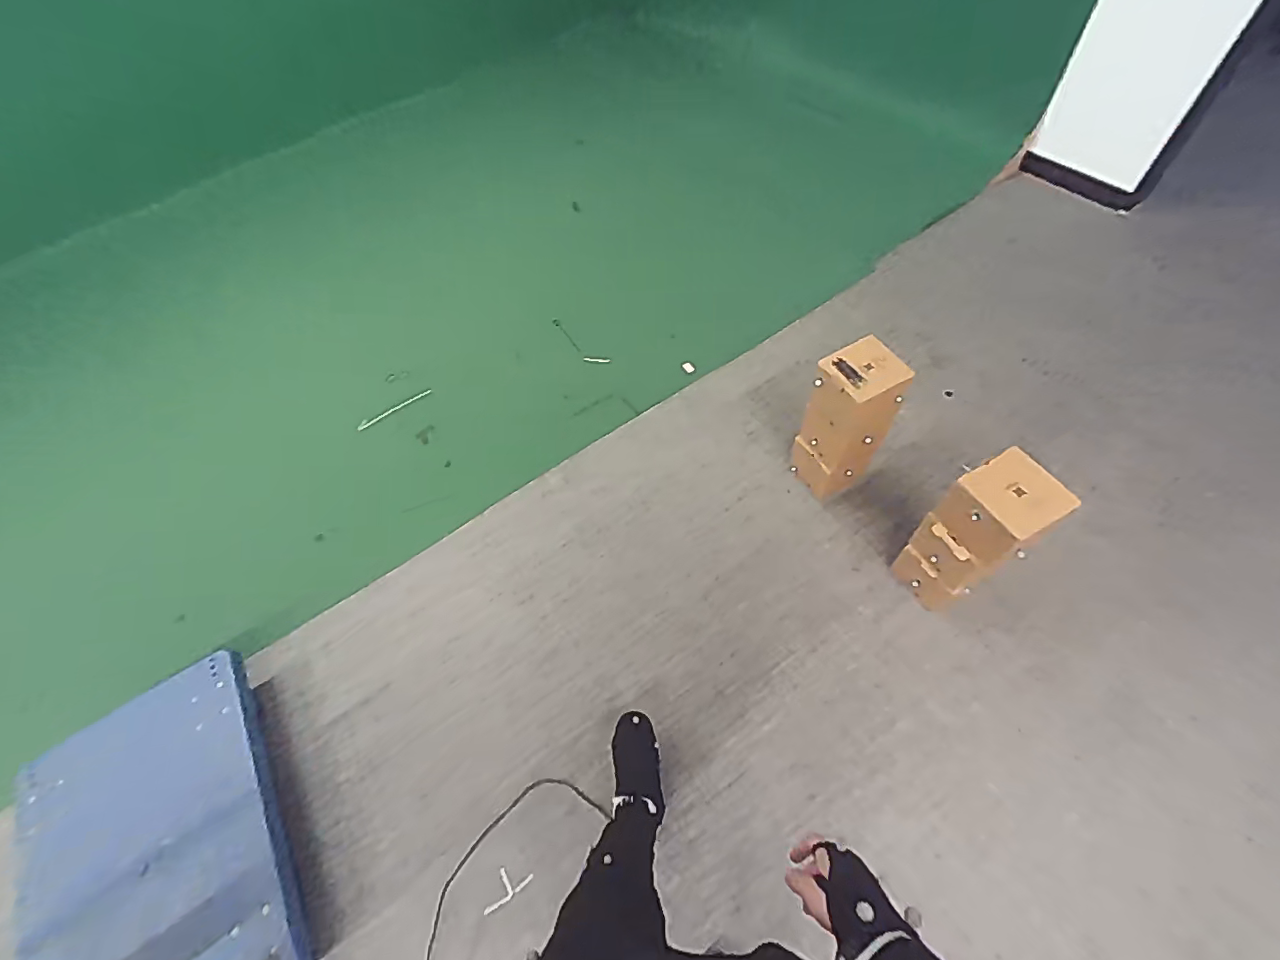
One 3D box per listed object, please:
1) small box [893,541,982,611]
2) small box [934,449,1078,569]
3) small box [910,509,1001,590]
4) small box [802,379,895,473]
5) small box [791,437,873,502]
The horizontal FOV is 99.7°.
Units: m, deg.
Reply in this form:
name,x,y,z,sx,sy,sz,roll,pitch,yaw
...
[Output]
name,x,y,z,sx,sy,sz,roll,pitch,yaw
small box,0.829,0.236,1.491,0.179,0.176,0.168,-31,60,-10
small box,0.802,0.069,1.210,0.168,0.176,0.179,-27,60,-8
small box,0.818,0.147,1.352,0.179,0.176,0.168,-27,59,-8
small box,0.593,-0.154,1.566,0.179,0.176,0.168,-28,60,-8
small box,0.599,-0.059,1.718,0.179,0.176,0.168,-27,61,-9
